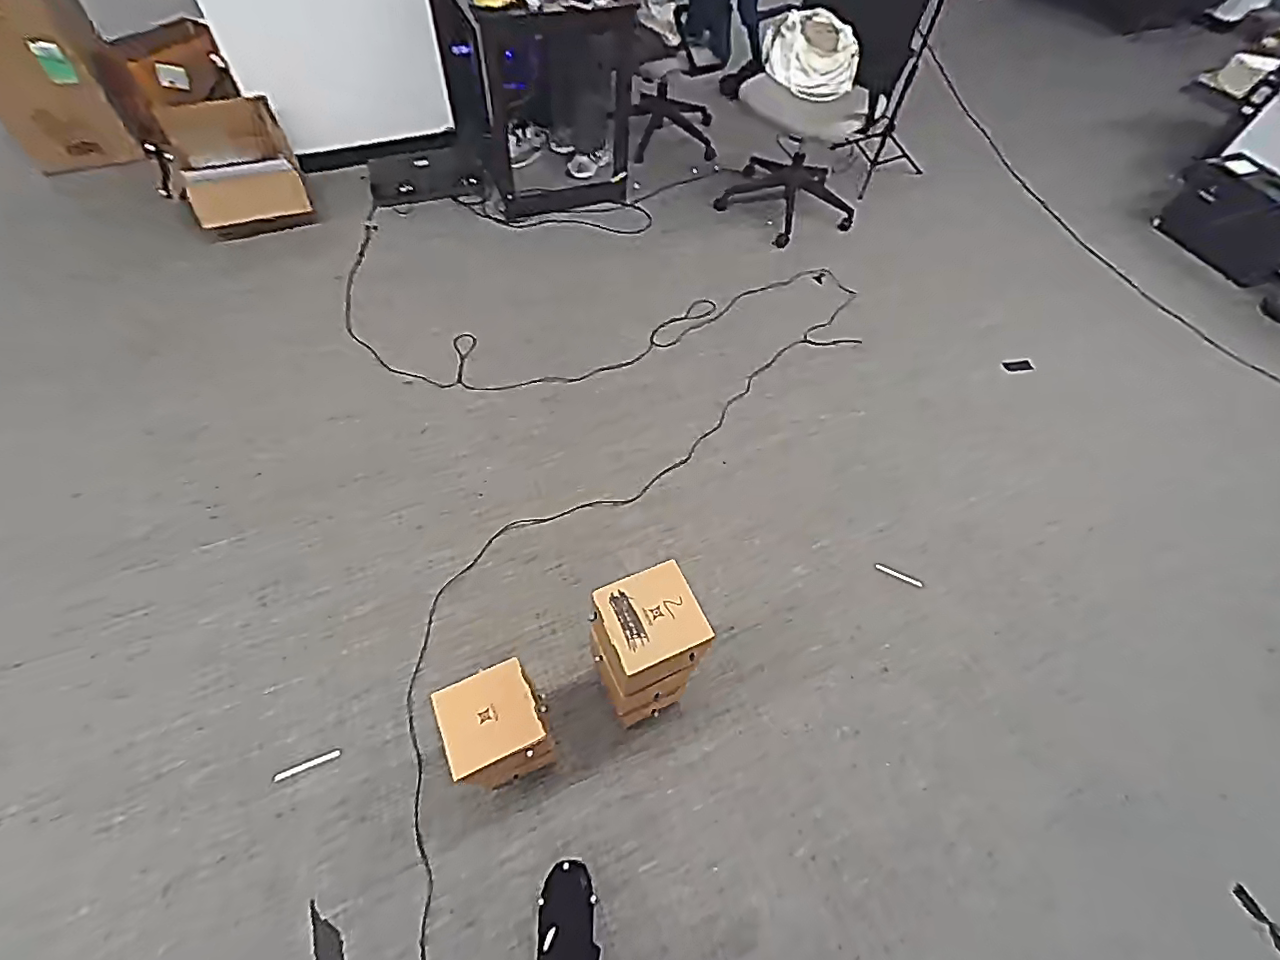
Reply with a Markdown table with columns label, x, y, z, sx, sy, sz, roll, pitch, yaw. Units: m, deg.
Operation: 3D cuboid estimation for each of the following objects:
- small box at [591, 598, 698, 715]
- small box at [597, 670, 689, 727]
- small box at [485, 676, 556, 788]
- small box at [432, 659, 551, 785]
| label | x | y | z | sx | sy | sz | roll | pitch | yaw |
| --- | --- | --- | --- | --- | --- | --- | --- | --- | --- |
| small box | 0.002 | 0.386 | 1.175 | 0.179 | 0.176 | 0.168 | -20 | 61 | -17 |
| small box | -0.003 | 0.474 | 1.314 | 0.168 | 0.176 | 0.179 | -21 | 62 | -16 |
| small box | -0.295 | 0.575 | 1.228 | 0.168 | 0.176 | 0.179 | -17 | 61 | -14 |
| small box | -0.292 | 0.491 | 1.089 | 0.179 | 0.176 | 0.168 | -21 | 61 | -16 |
